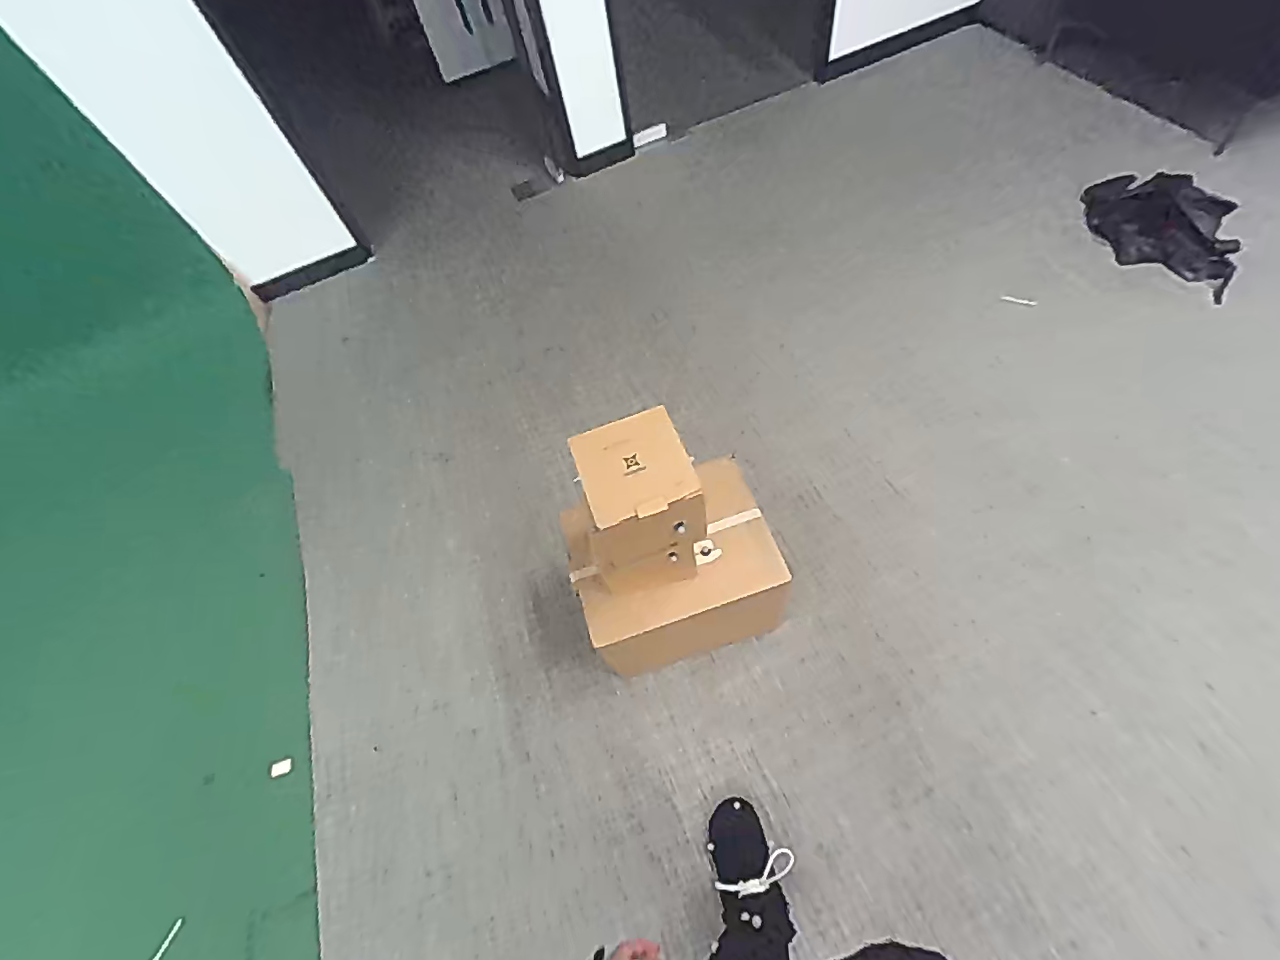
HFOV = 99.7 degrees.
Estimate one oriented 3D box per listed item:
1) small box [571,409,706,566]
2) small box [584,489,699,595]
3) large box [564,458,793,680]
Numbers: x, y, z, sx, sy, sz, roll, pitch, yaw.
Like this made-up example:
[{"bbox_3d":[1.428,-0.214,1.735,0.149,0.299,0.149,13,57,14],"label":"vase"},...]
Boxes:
[{"bbox_3d":[0.003,0.022,0.881,0.168,0.176,0.179,-20,57,-5],"label":"small box"},{"bbox_3d":[0.006,0.102,1.022,0.179,0.176,0.168,-13,58,1],"label":"small box"},{"bbox_3d":[0.081,0.212,1.229,0.408,0.320,0.320,-18,59,-3],"label":"large box"}]
